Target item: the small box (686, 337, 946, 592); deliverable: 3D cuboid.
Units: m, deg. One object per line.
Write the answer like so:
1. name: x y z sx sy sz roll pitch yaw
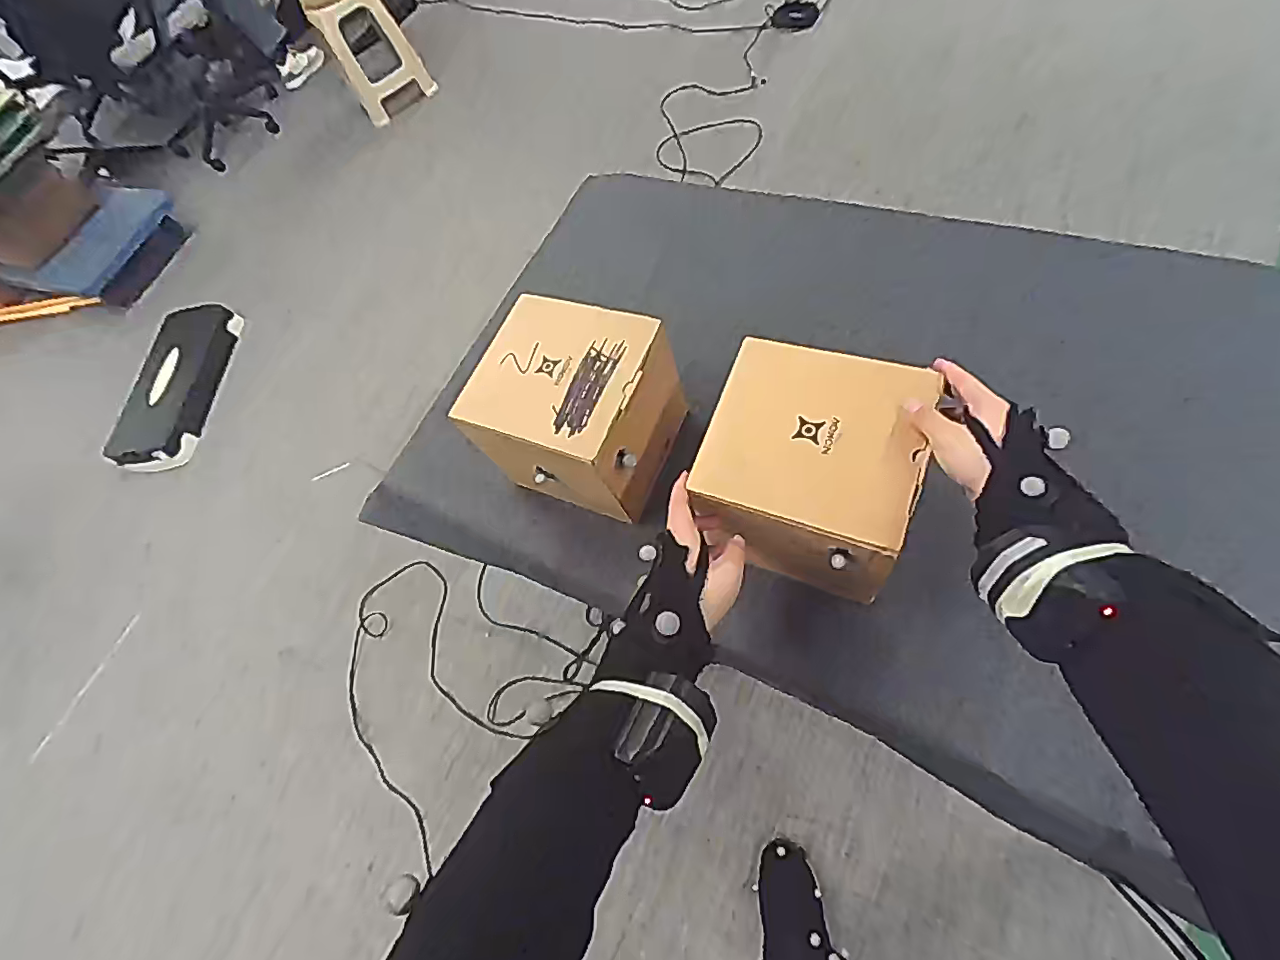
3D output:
1. small box: 0.162 -0.007 0.524 0.179 0.176 0.168 18 70 20
